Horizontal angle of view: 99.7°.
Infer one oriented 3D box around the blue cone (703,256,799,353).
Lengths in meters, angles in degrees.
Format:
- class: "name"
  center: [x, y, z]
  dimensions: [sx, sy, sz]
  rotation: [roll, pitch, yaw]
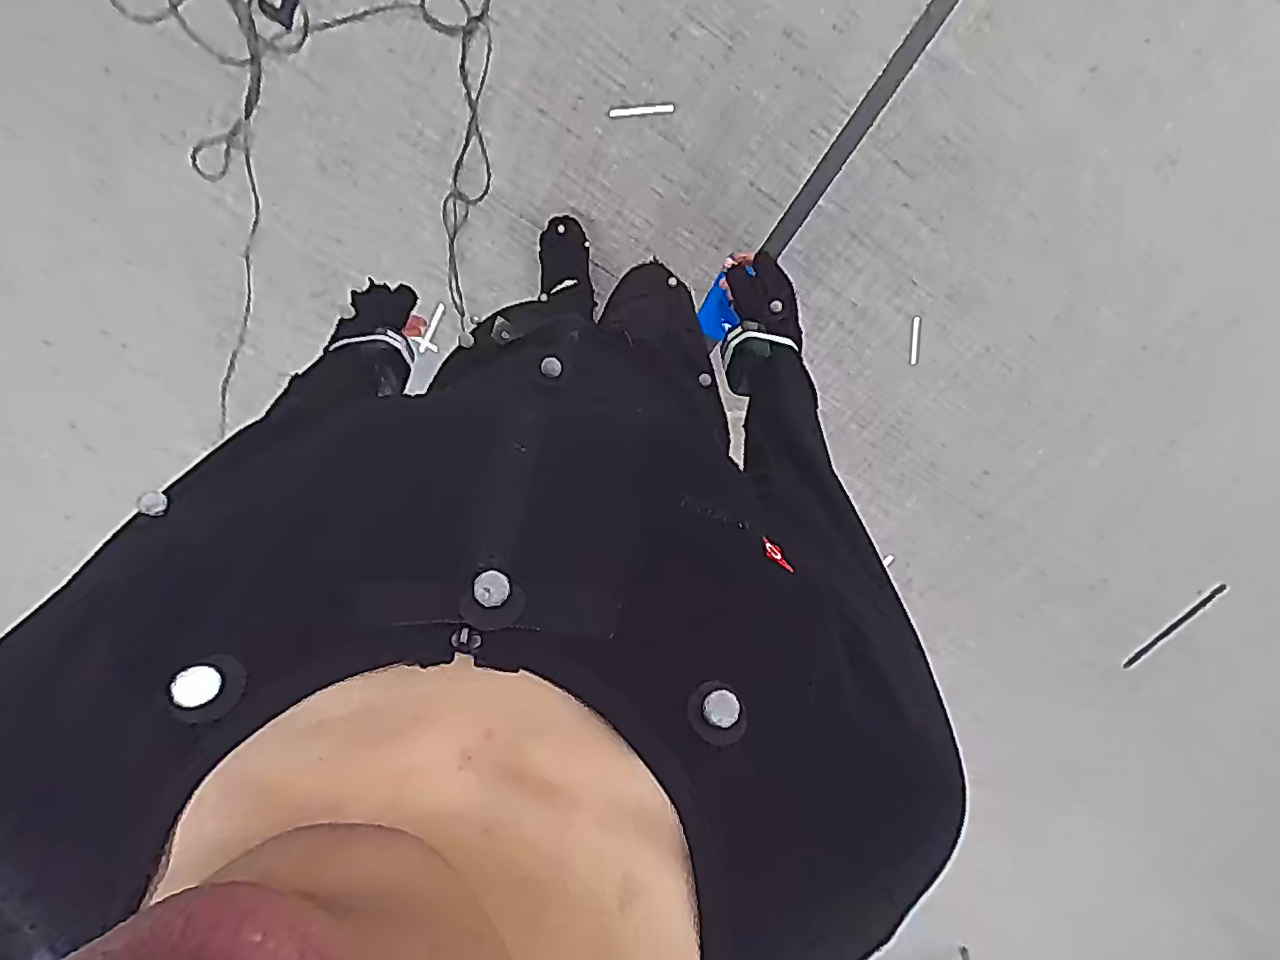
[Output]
- class: "blue cone"
  center: [0.272, -0.363, 1.193]
  dimensions: [0.192, 0.380, 0.193]
  rotation: [26, 112, -13]
